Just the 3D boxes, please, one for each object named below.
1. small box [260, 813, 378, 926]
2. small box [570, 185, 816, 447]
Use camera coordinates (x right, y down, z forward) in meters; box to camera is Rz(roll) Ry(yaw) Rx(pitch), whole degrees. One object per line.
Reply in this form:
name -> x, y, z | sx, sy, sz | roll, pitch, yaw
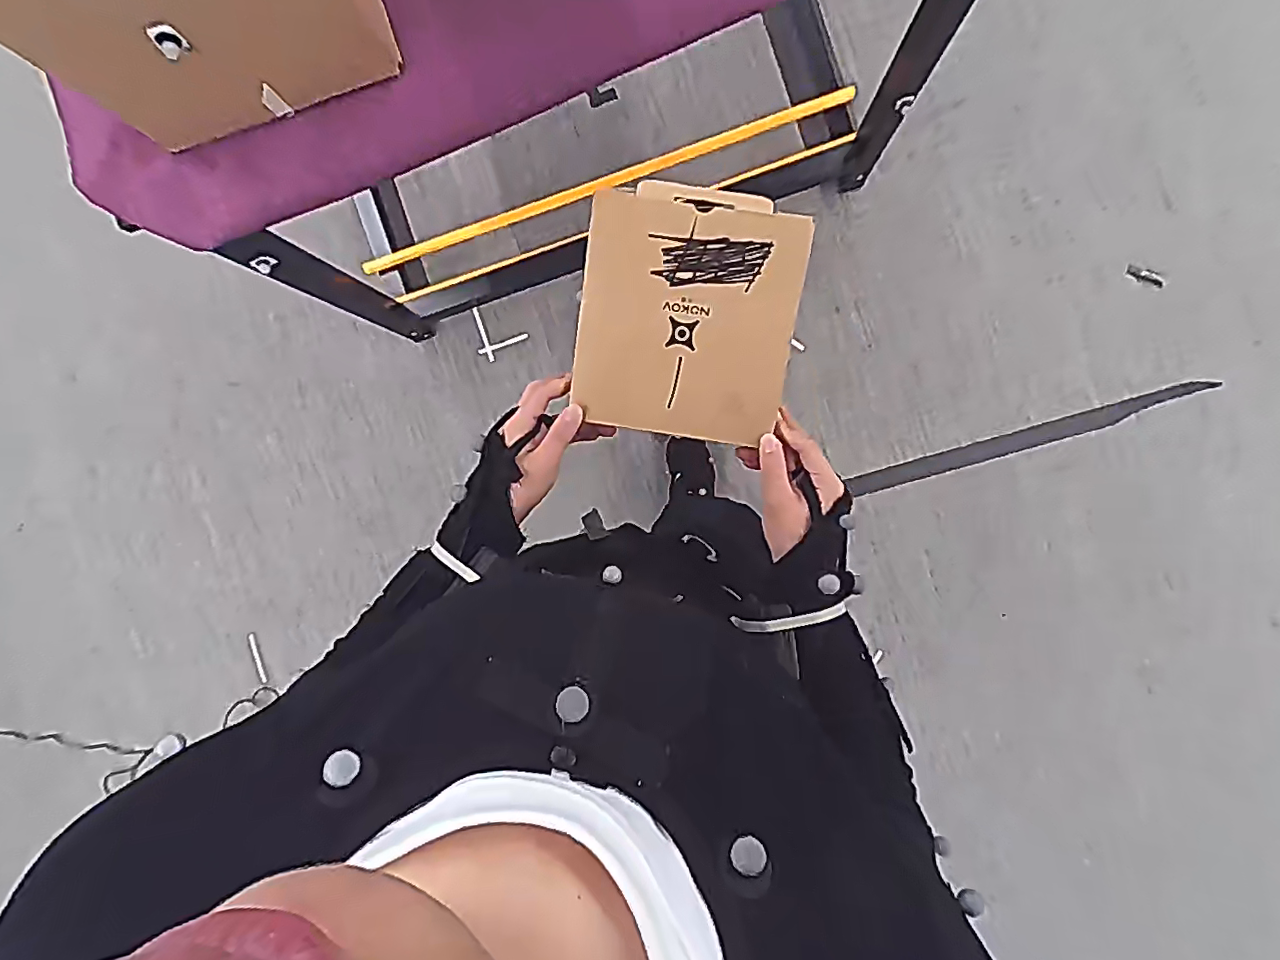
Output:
small box -> -0.768, 0.939, 1.309 | 0.179, 0.176, 0.168 | 9, 78, -5
small box -> 0.042, -0.136, 0.492 | 0.168, 0.176, 0.179 | 9, 100, 3
